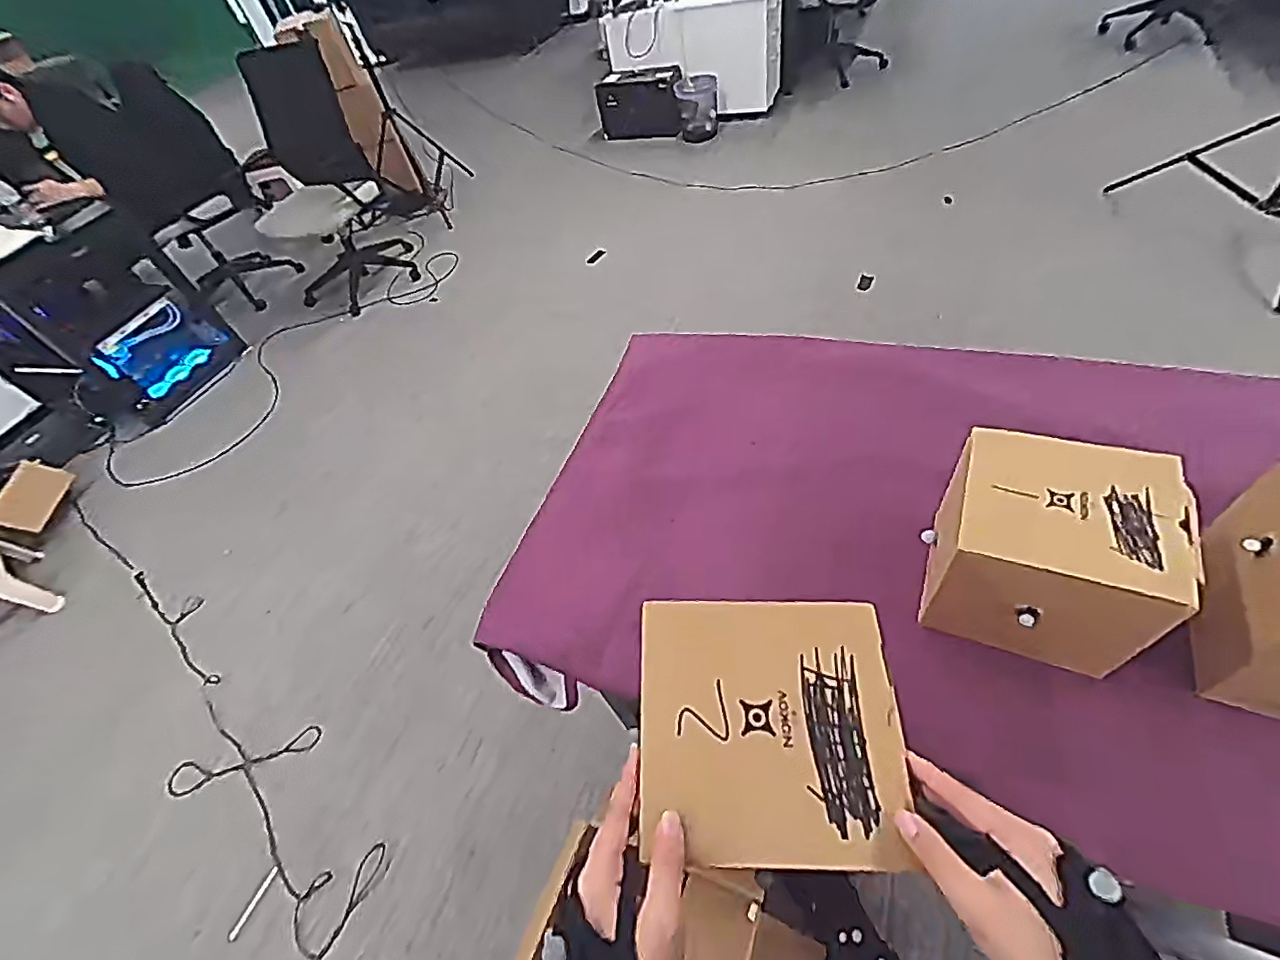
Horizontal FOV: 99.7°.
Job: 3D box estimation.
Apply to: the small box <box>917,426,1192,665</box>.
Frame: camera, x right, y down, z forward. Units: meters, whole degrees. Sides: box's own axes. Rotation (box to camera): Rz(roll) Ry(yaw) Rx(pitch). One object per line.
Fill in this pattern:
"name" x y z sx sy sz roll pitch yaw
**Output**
"small box" 0.411 0.072 0.565 0.179 0.176 0.168 14 56 24
